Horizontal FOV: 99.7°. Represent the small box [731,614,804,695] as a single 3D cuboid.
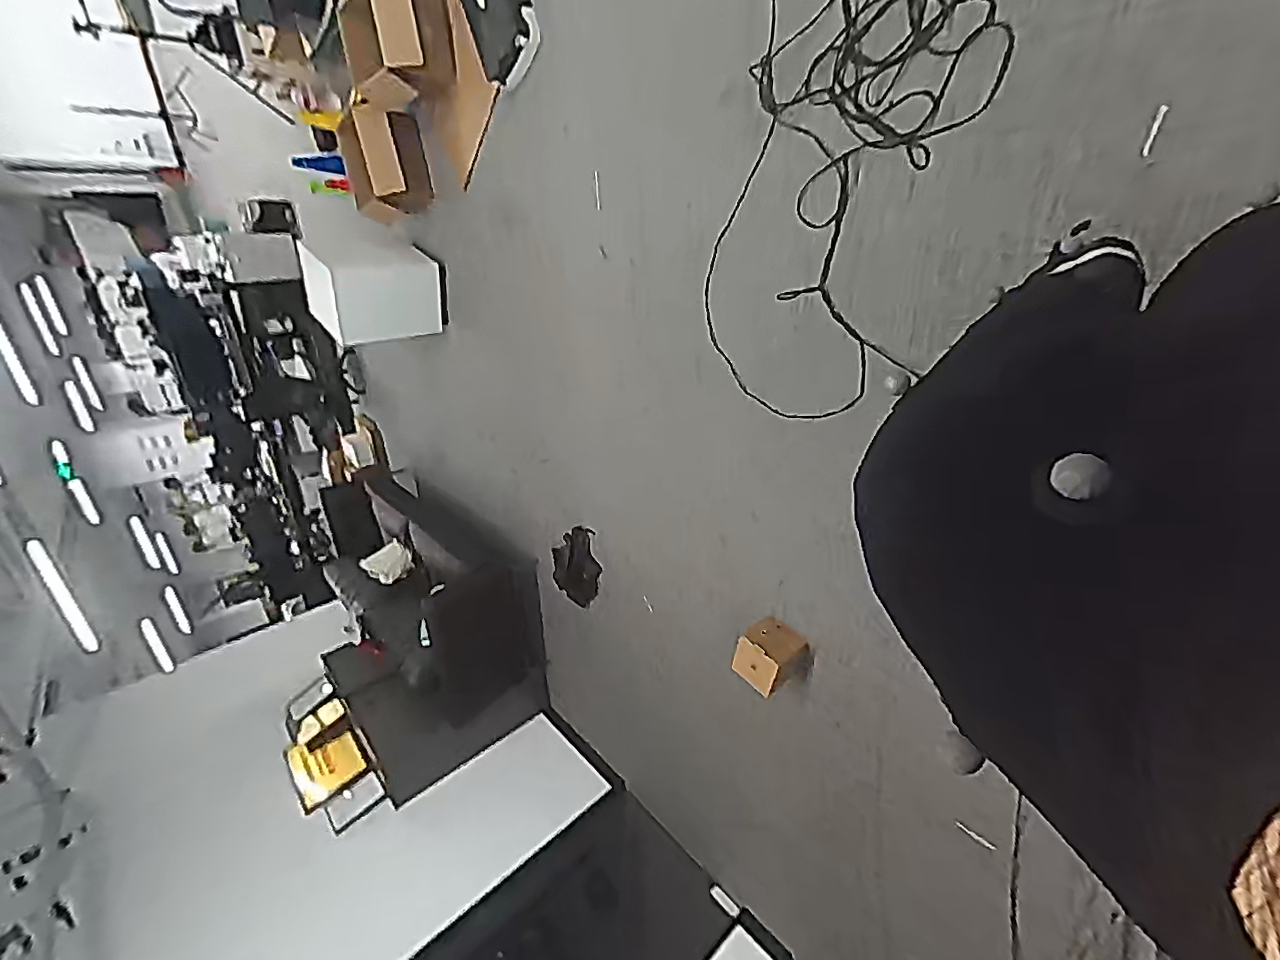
[{"bbox_3d":[0.450,0.607,1.899,0.168,0.176,0.179,36,133,37],"label":"small box"}]
